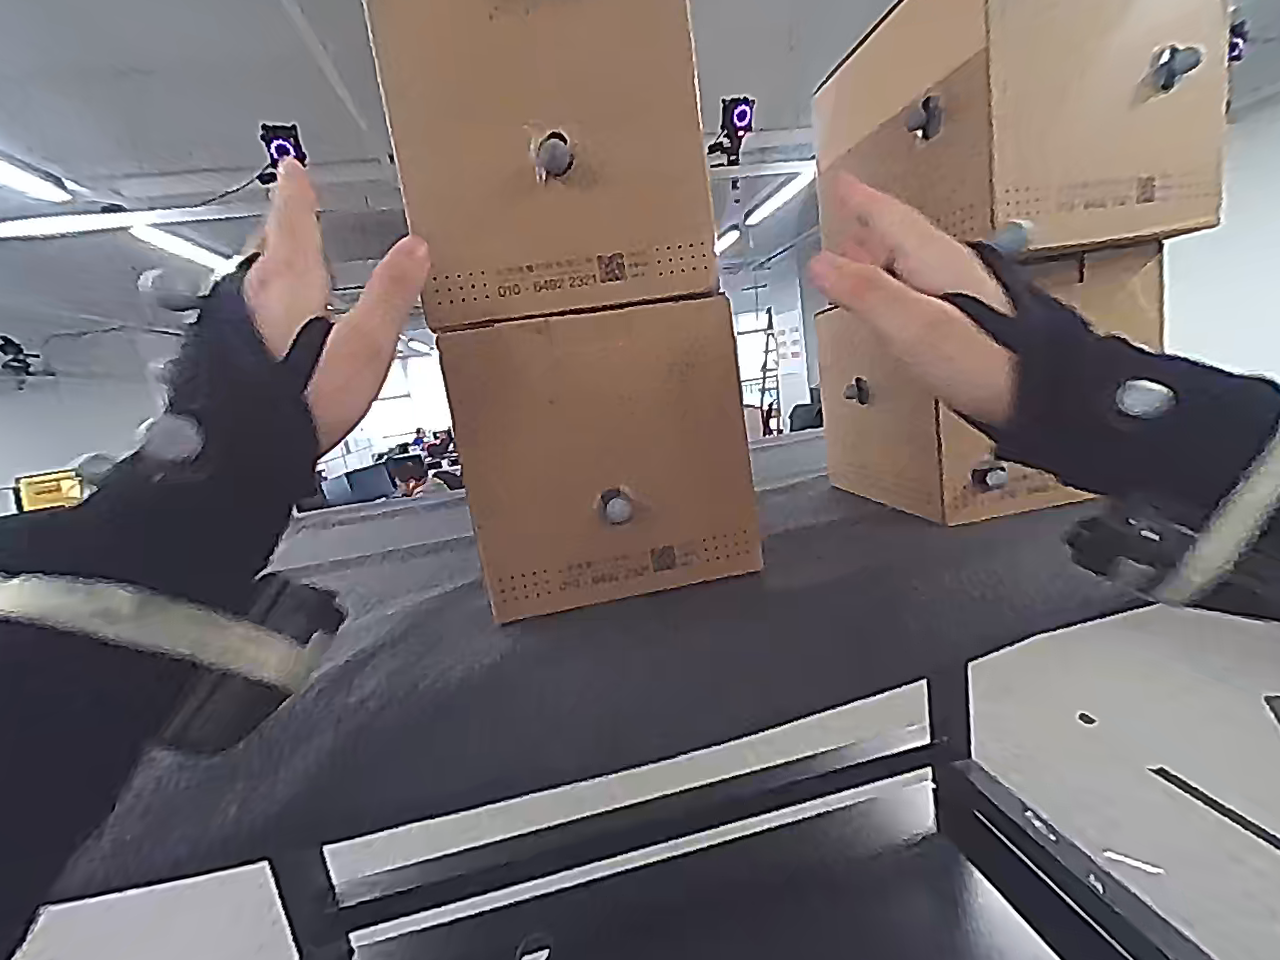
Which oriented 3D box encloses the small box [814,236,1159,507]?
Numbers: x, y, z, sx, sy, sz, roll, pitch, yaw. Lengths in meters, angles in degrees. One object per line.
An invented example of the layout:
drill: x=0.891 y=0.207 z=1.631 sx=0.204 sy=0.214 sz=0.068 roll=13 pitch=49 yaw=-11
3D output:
small box: x=0.262 y=-0.080 z=0.438 sx=0.168 sy=0.176 sz=0.179 roll=-10 pitch=9 yaw=-5

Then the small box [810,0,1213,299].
small box: x=0.243 y=-0.233 z=0.379 sx=0.168 sy=0.176 sz=0.179 roll=-10 pitch=9 yaw=-11

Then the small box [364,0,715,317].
small box: x=-0.053 y=-0.189 z=0.365 sx=0.168 sy=0.176 sz=0.179 roll=-9 pitch=9 yaw=-5

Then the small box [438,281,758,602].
small box: x=-0.028 y=-0.028 z=0.388 sx=0.168 sy=0.176 sz=0.179 roll=-11 pitch=8 yaw=-7
